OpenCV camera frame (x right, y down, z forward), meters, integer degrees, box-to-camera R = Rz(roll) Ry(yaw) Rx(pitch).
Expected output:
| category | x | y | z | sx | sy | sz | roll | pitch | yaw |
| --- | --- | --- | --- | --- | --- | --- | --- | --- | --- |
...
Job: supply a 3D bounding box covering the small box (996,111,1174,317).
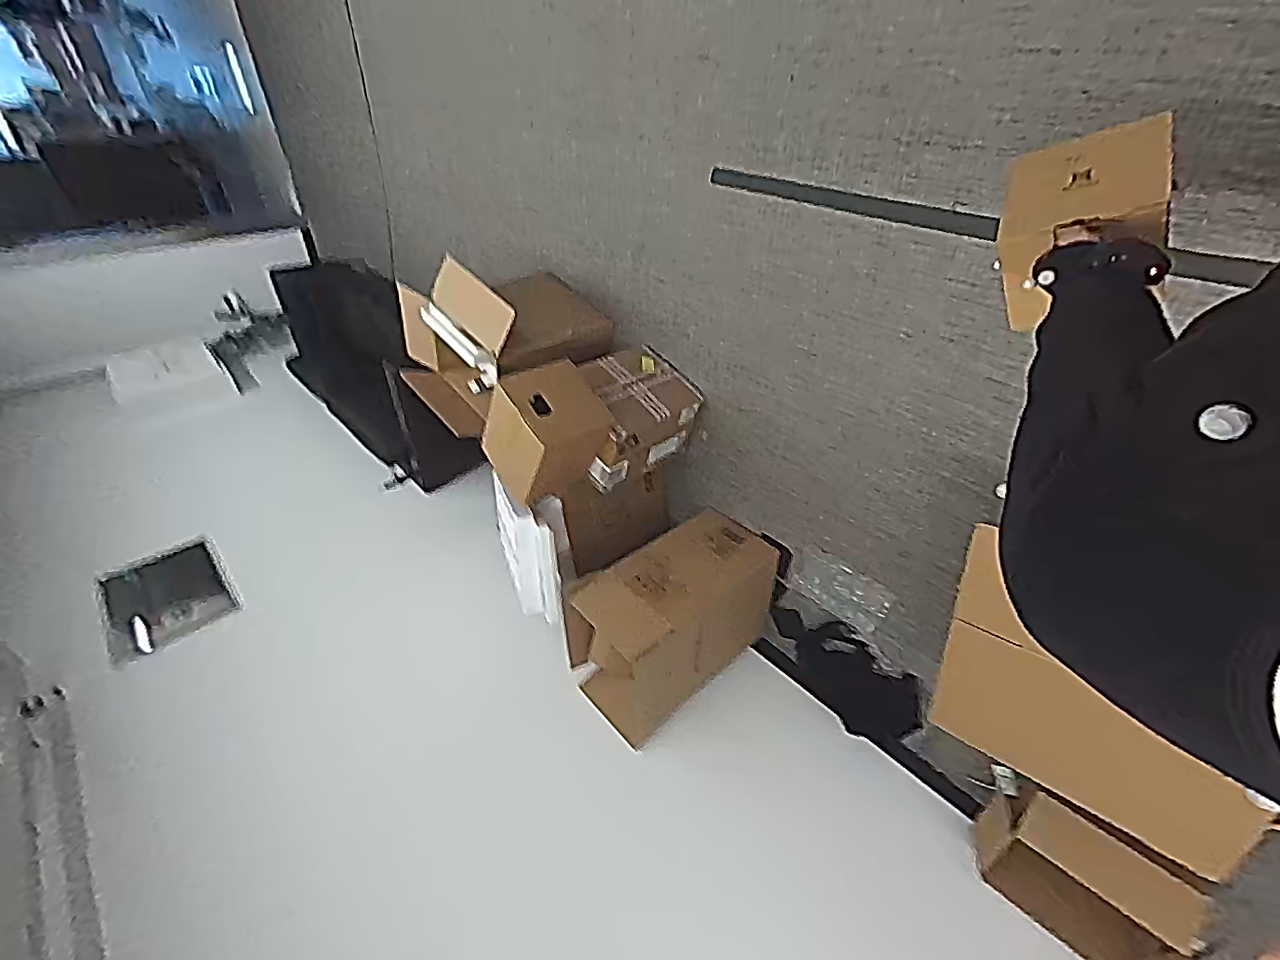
| category | x | y | z | sx | sy | sz | roll | pitch | yaw |
| --- | --- | --- | --- | --- | --- | --- | --- | --- | --- |
| small box | 0.601 | -0.341 | 0.735 | 0.168 | 0.179 | 0.176 | 5 | 151 | 41 |
